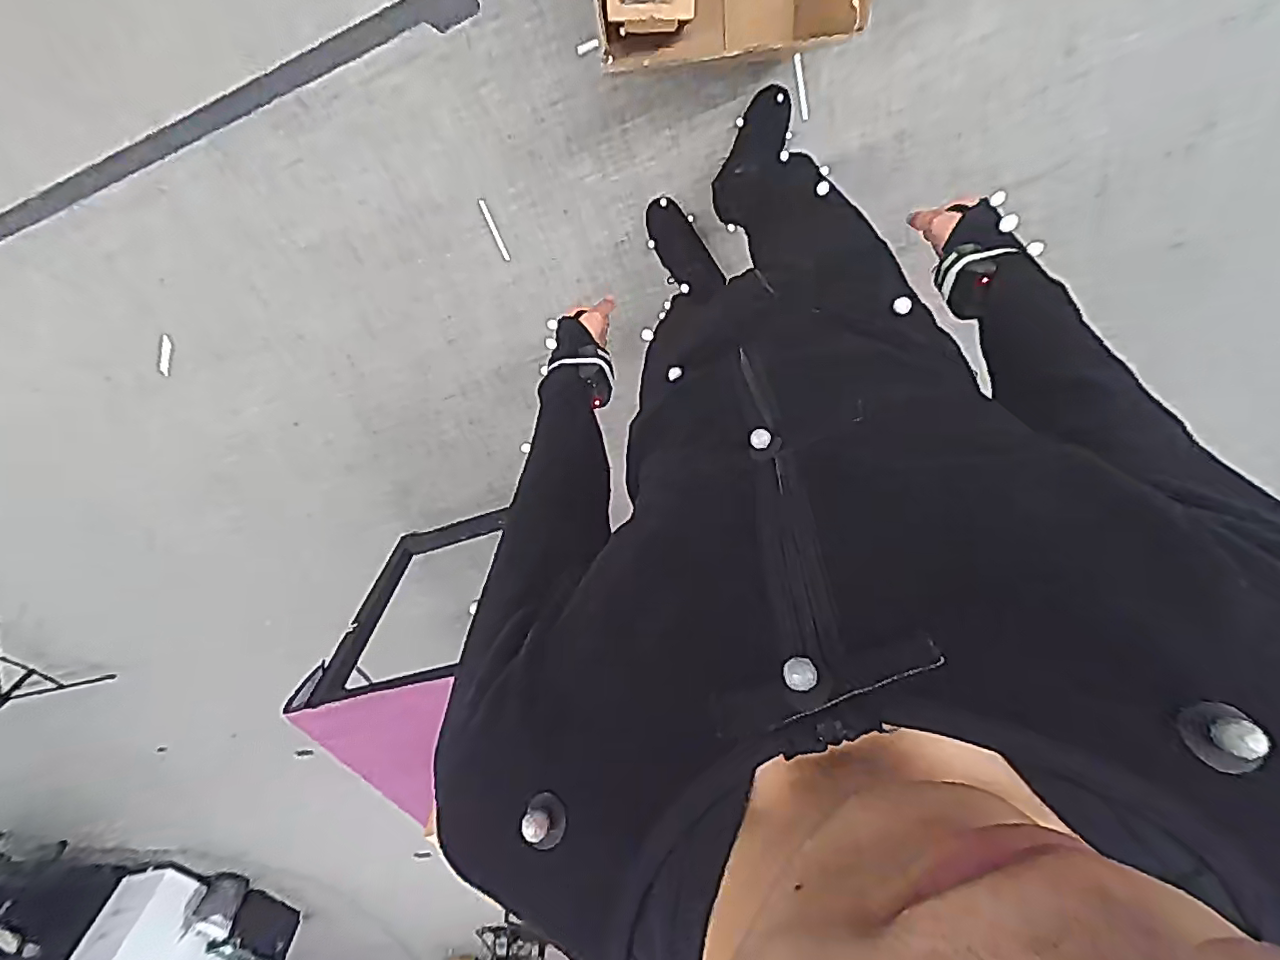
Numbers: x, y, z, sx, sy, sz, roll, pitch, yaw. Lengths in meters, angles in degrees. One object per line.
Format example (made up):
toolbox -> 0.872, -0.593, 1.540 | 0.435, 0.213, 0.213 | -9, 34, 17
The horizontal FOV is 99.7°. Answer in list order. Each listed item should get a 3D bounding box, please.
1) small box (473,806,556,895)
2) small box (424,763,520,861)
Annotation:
small box -> -0.363, 1.096, 1.606 | 0.179, 0.176, 0.168 | -18, 122, 13
small box -> -0.445, 0.898, 1.470 | 0.179, 0.176, 0.168 | -23, 121, 16
